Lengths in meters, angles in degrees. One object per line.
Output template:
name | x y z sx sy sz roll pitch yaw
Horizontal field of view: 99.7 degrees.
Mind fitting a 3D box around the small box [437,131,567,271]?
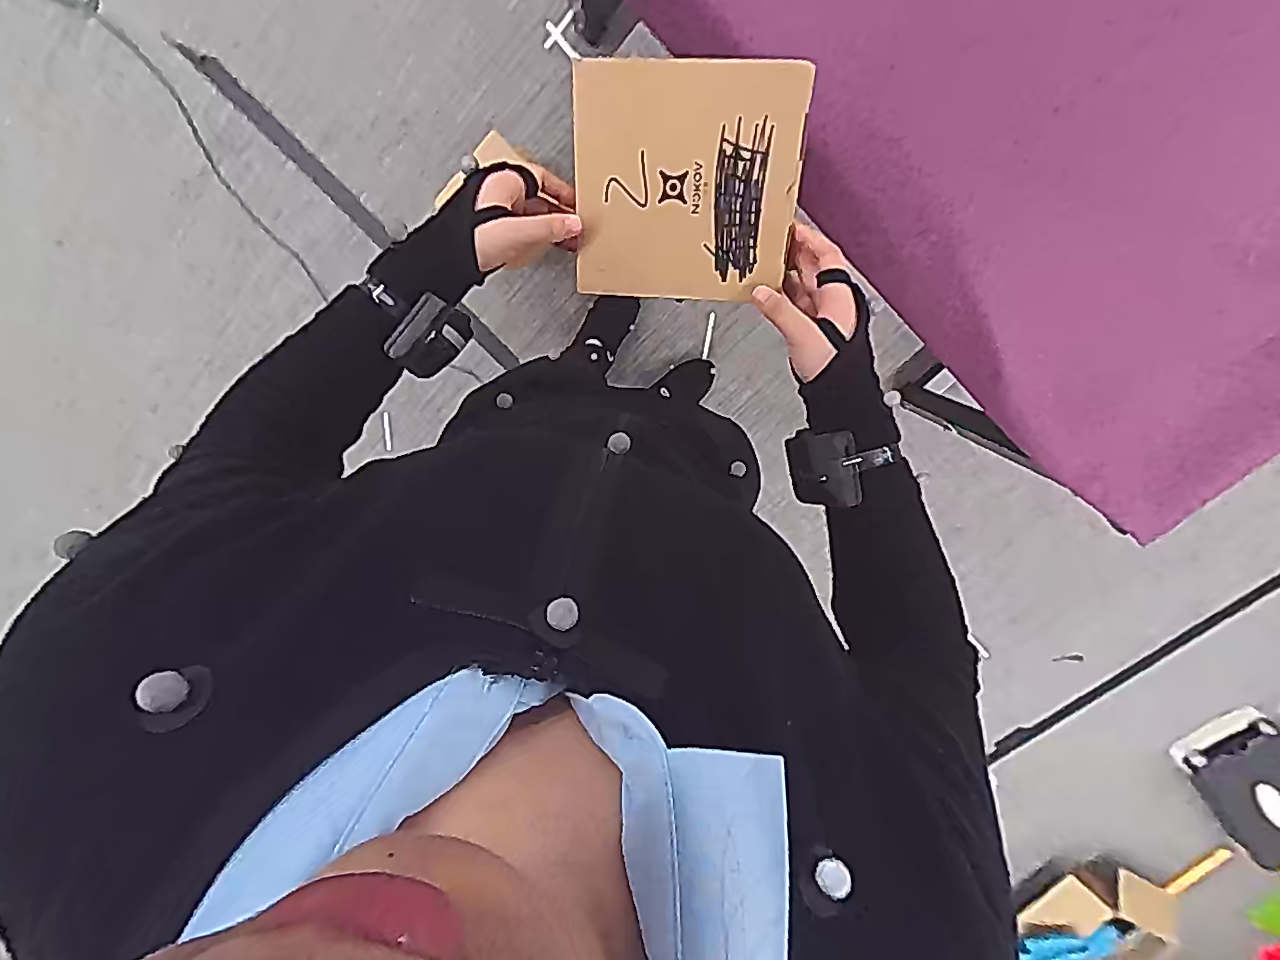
small box | -0.260 -0.539 1.071 0.179 0.176 0.168 -42 104 15

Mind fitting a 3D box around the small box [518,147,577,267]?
small box | -0.261 -0.603 1.223 0.179 0.176 0.168 -37 106 13
